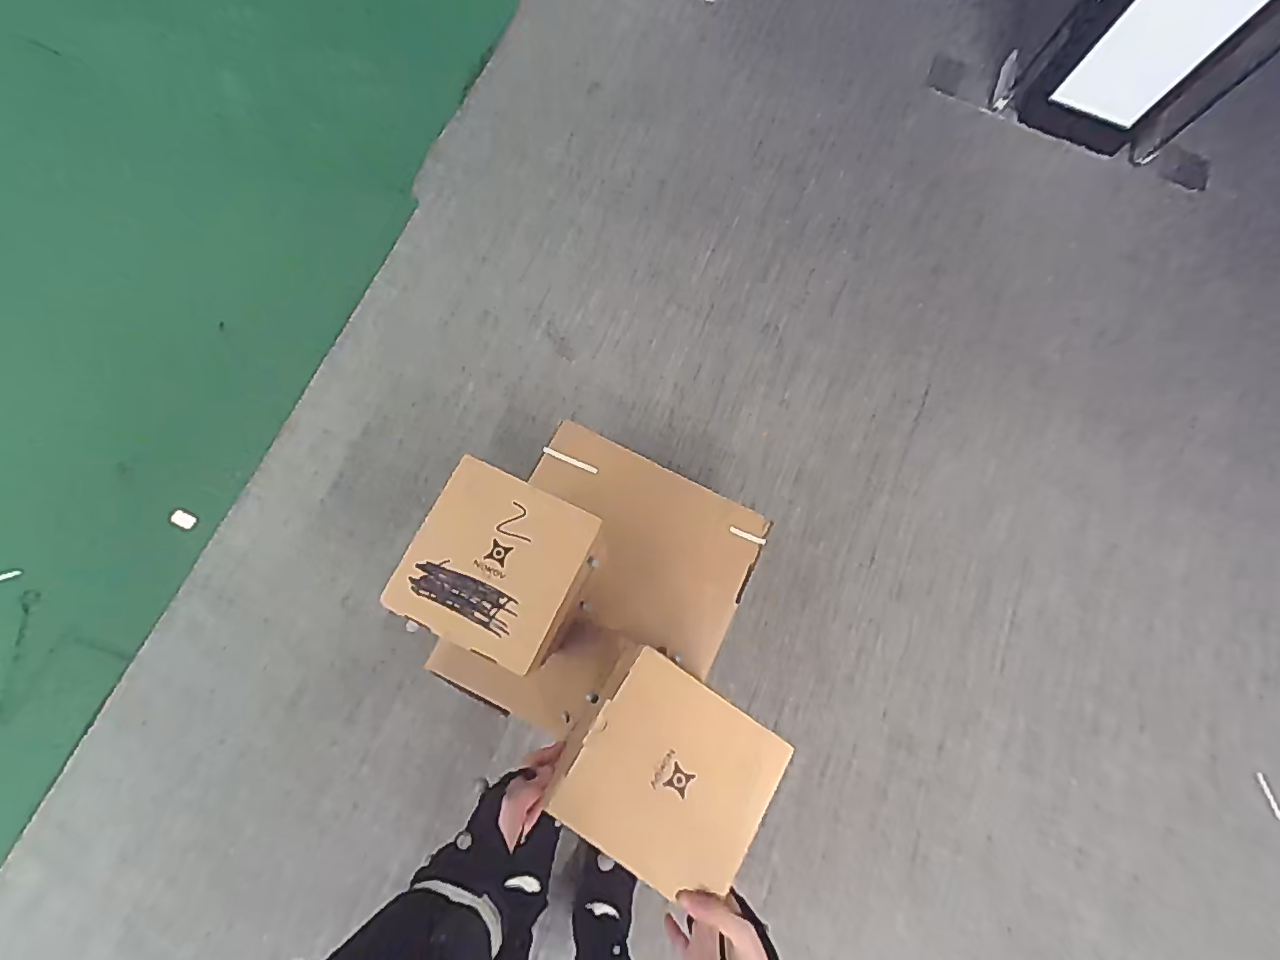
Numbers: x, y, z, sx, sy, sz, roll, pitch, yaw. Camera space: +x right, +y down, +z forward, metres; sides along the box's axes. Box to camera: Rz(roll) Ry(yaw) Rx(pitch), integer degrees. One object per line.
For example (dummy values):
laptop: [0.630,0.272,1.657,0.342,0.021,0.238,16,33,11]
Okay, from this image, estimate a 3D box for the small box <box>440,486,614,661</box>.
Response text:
small box: [-0.153,0.138,0.785,0.168,0.176,0.179,29,75,4]

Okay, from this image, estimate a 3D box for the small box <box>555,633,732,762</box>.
small box: [0.001,0.330,0.749,0.168,0.176,0.179,30,75,2]

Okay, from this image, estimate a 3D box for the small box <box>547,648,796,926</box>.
small box: [0.023,0.293,0.562,0.179,0.176,0.168,33,70,4]
